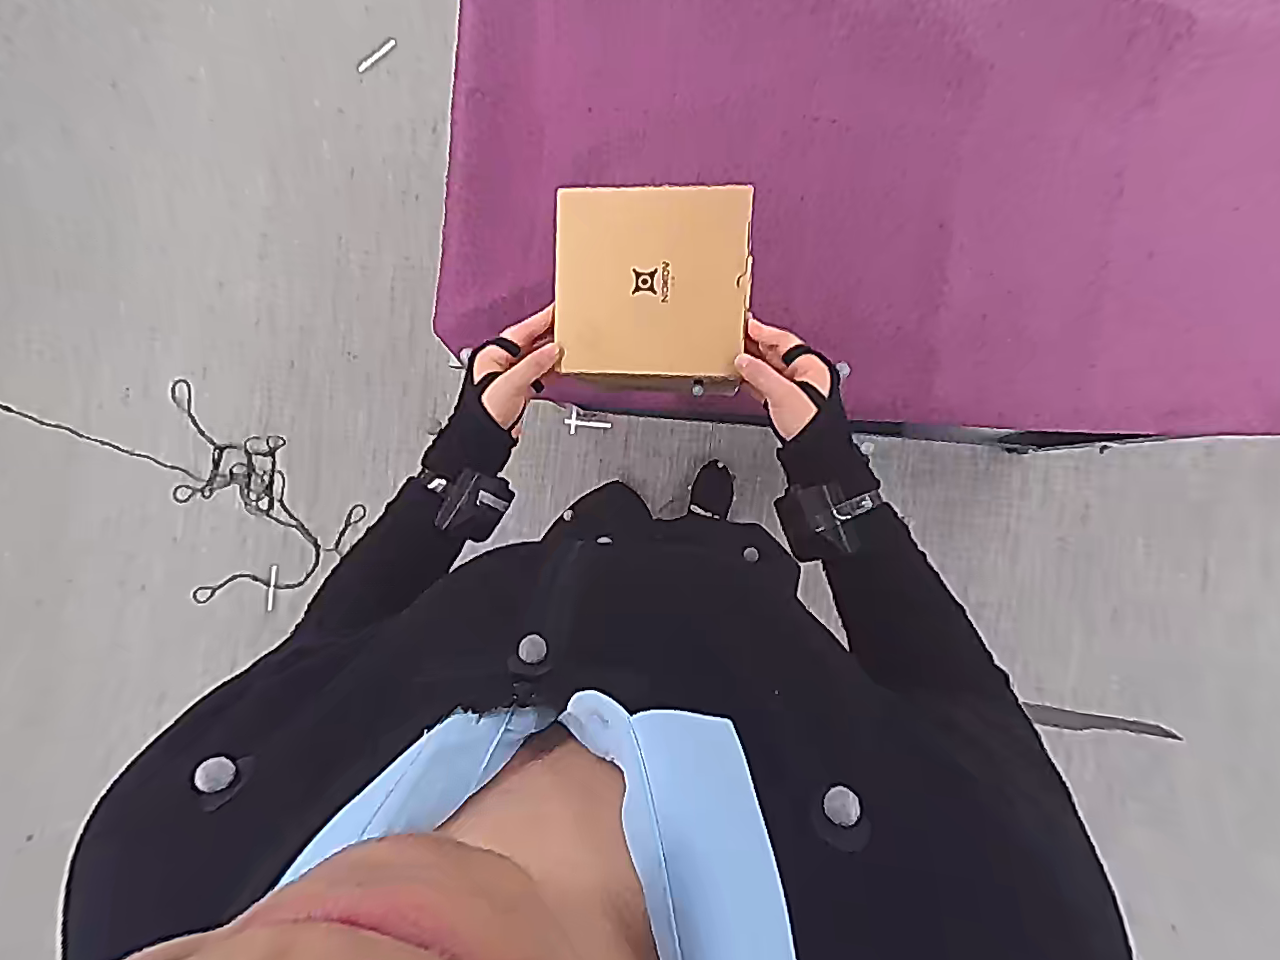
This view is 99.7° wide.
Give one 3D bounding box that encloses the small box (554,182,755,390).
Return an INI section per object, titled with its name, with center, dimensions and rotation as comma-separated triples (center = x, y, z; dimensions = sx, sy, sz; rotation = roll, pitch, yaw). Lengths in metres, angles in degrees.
[small box]
center = 0.020, -0.185, 0.562
dimensions = 0.179, 0.176, 0.168
rotation = 3, 94, 6
